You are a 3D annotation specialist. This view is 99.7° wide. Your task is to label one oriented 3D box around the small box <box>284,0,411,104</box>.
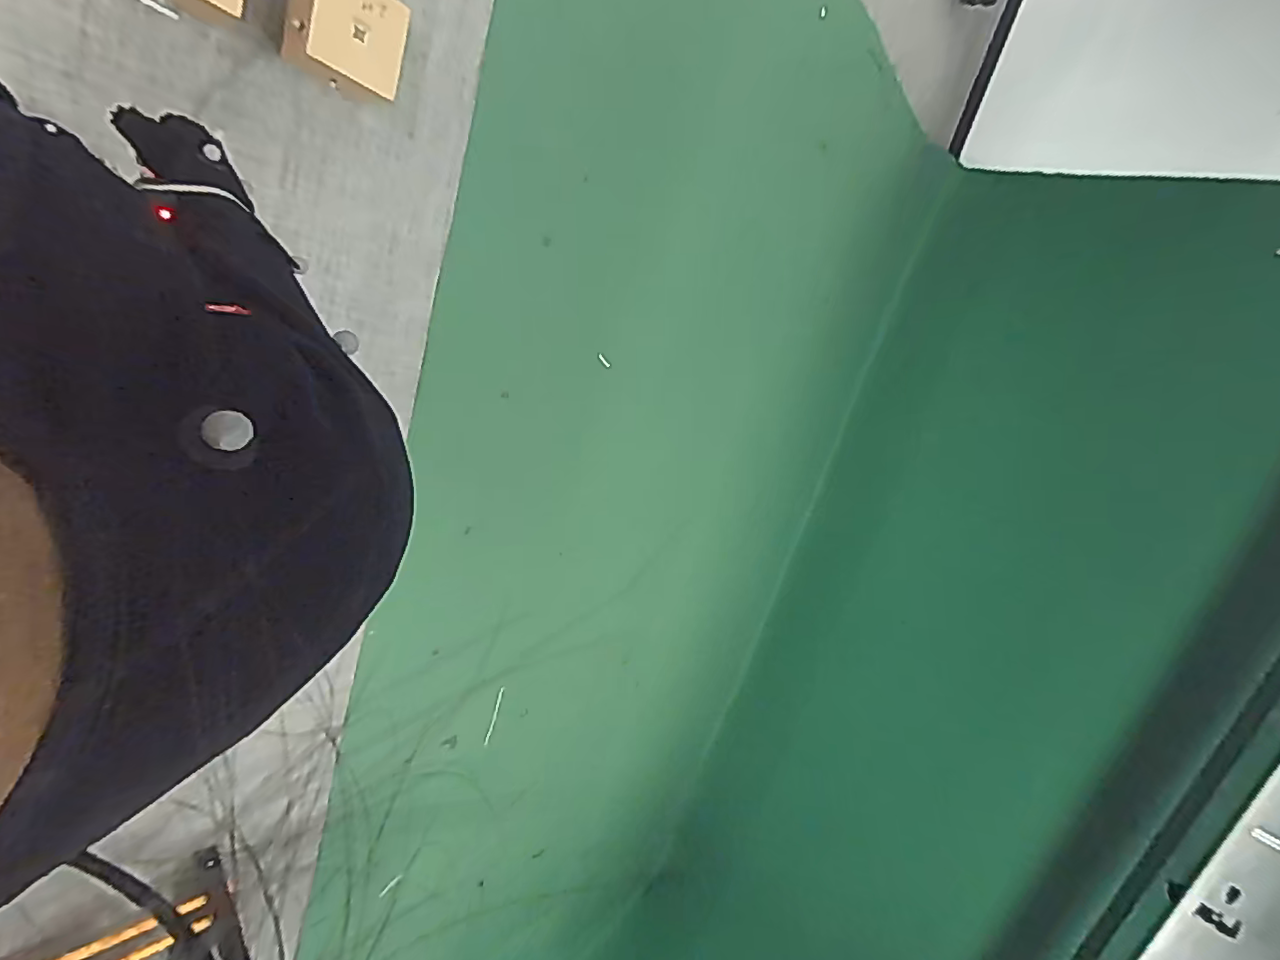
[{"bbox_3d":[-0.590,-0.888,1.082,0.168,0.176,0.179,2,111,-50],"label":"small box"}]
